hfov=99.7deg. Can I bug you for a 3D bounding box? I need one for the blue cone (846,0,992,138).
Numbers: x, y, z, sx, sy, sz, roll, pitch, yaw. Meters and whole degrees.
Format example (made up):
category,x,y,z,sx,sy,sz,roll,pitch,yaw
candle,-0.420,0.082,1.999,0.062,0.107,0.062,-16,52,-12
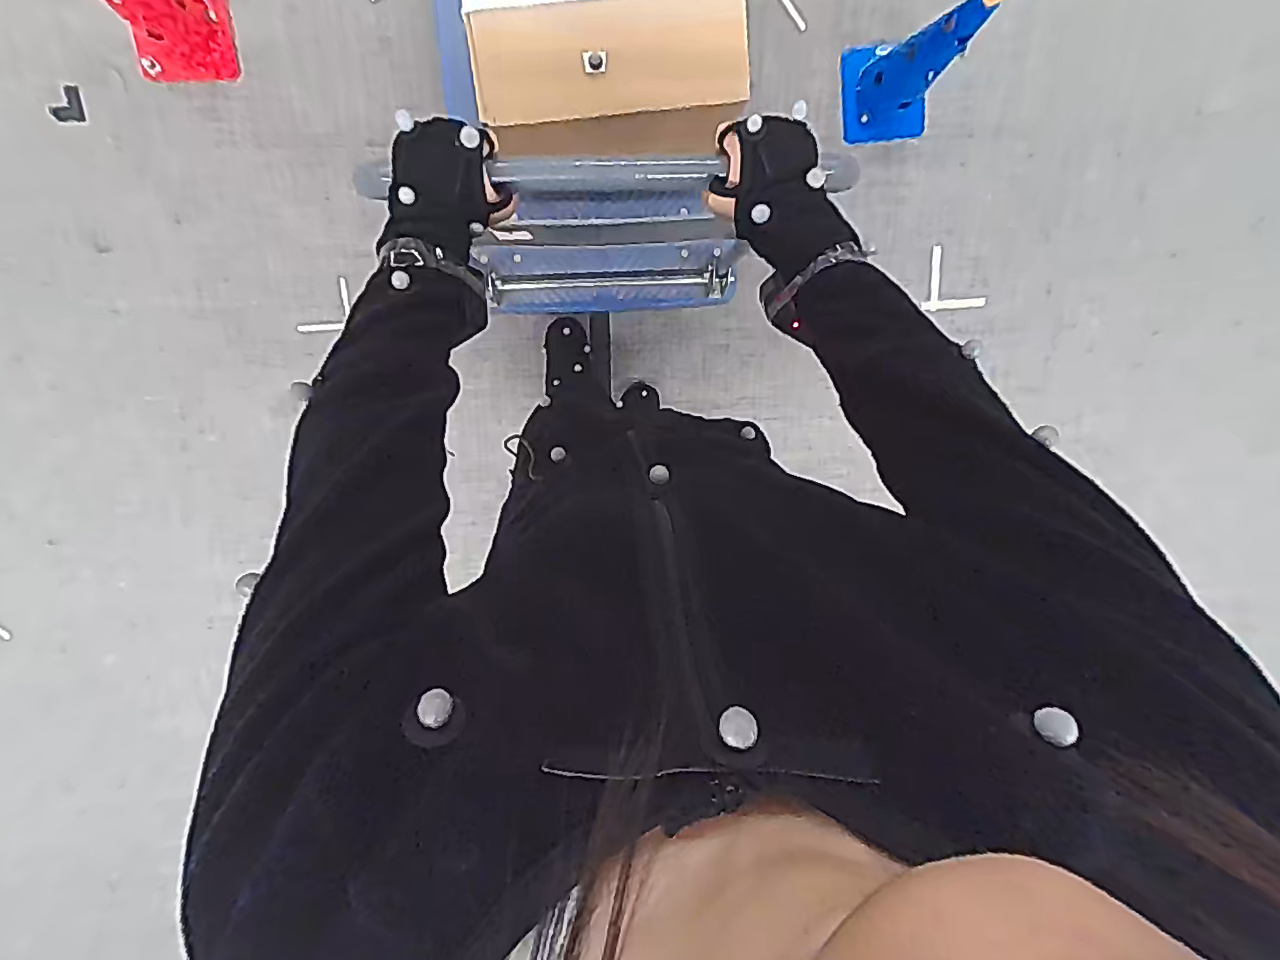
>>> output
category,x,y,z,sx,sy,sz,roll,pitch,yaw
blue cone,0.591,-0.878,1.110,0.193,0.380,0.192,-6,103,-3
